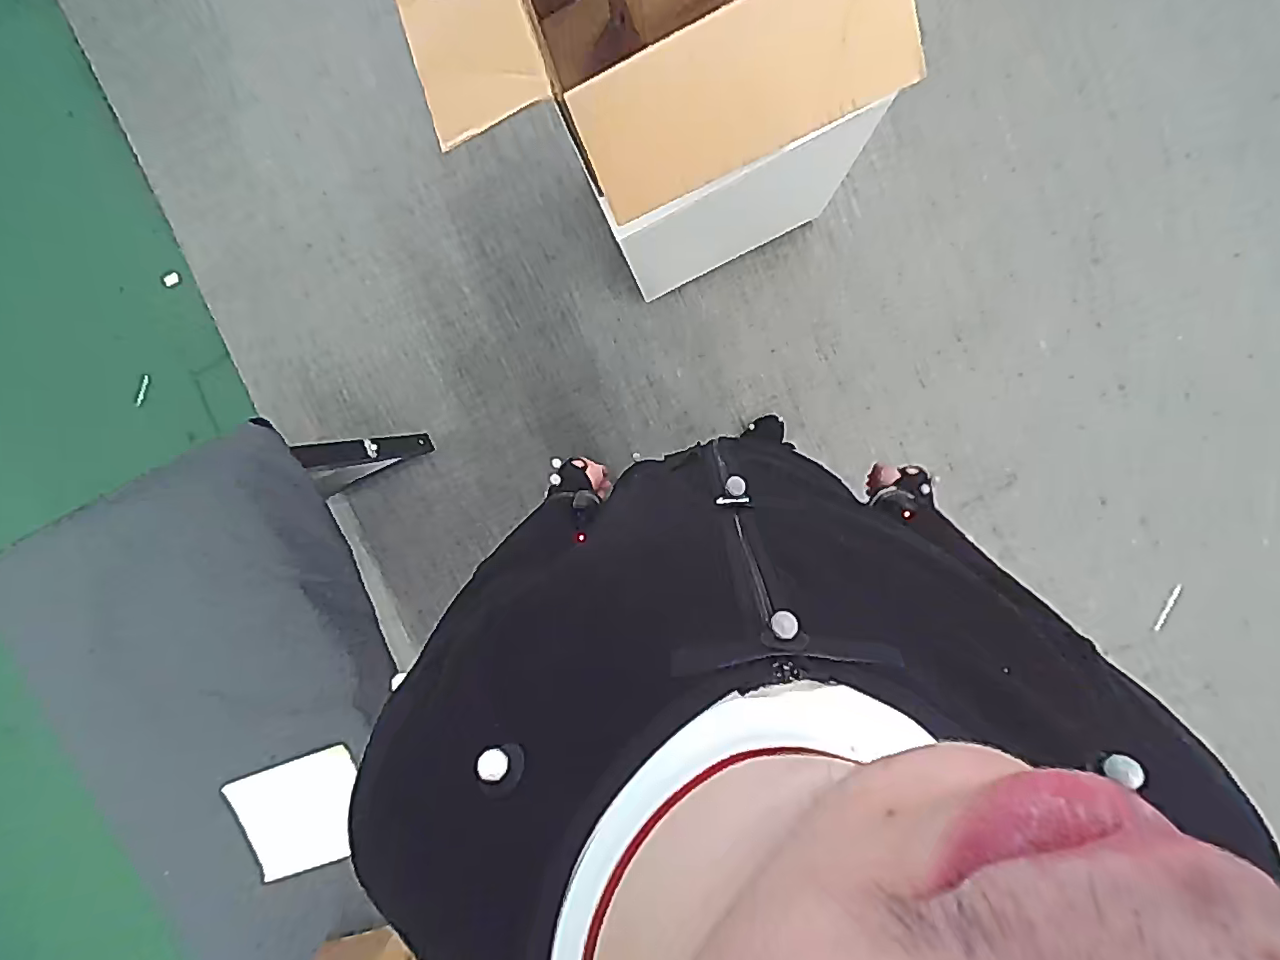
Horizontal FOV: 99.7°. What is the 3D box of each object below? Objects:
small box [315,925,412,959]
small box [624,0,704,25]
[{"bbox_3d":[-0.503,0.927,0.937,0.179,0.176,0.168,-22,94,9],"label":"small box"},{"bbox_3d":[0.034,-0.675,0.612,0.168,0.176,0.179,-25,93,6],"label":"small box"}]
